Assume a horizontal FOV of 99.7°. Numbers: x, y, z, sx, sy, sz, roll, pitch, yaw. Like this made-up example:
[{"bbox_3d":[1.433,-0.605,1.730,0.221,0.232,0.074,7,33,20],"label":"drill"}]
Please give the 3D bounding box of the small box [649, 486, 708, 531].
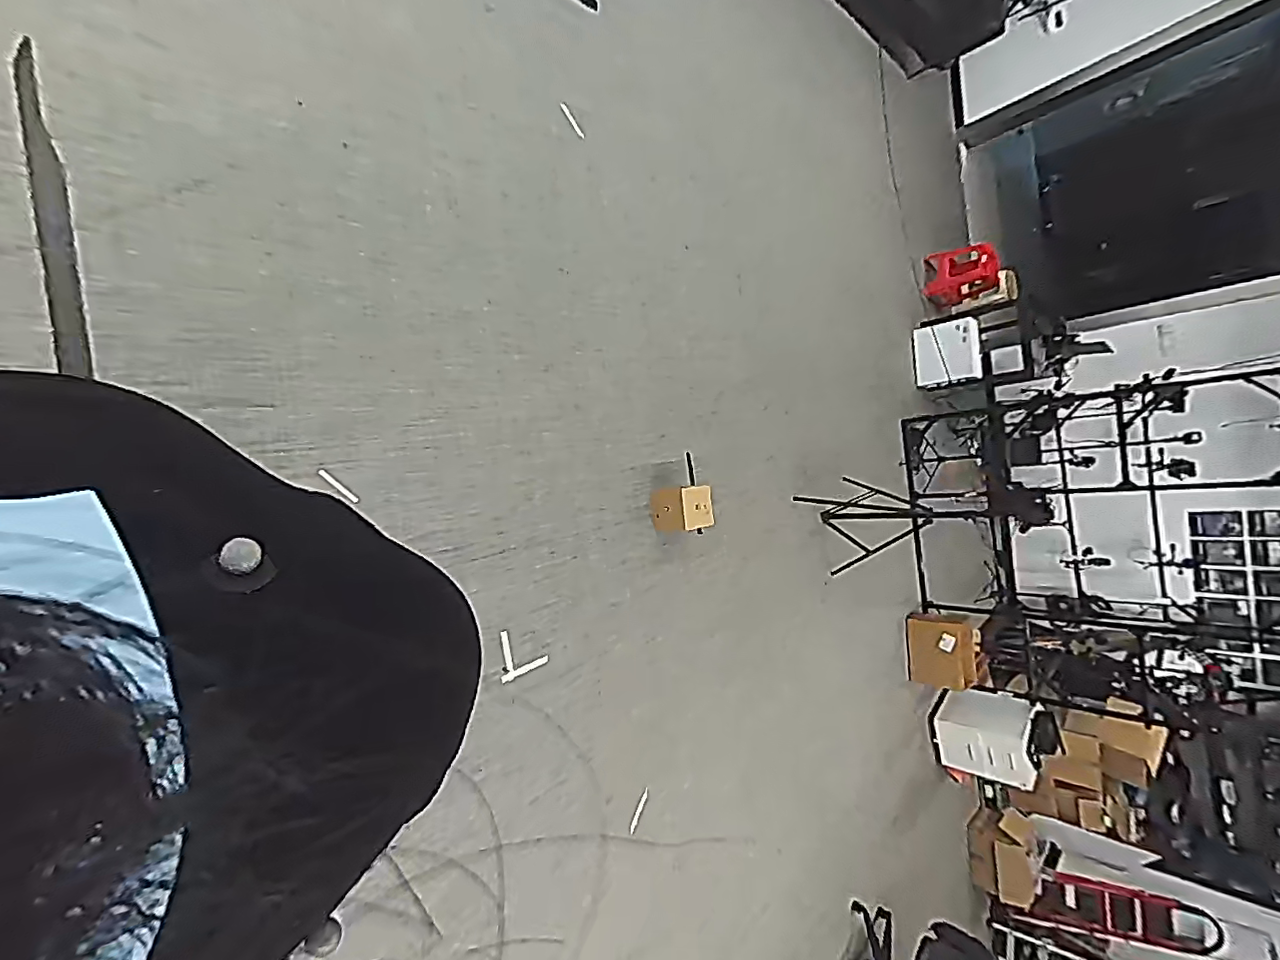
[{"bbox_3d":[0.149,0.116,2.181,0.179,0.176,0.168,-6,91,-45],"label":"small box"}]
